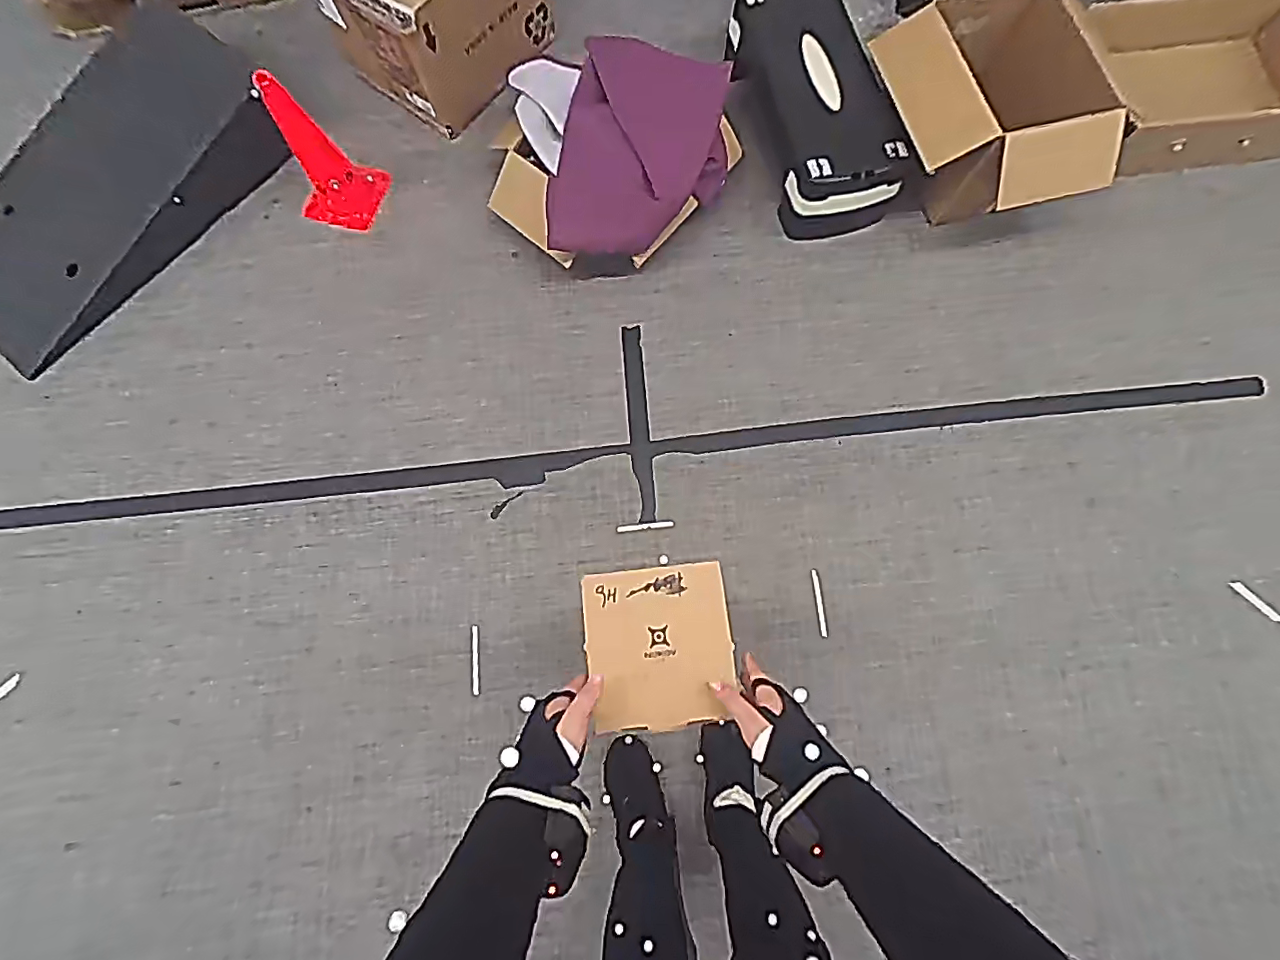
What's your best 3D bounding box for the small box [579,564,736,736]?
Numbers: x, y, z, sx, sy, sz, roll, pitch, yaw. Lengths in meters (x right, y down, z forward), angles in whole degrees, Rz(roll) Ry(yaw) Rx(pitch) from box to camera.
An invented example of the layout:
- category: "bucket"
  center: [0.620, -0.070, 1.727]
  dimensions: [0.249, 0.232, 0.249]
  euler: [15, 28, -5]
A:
- category: "small box"
  center: [0.020, 0.205, 0.683]
  dimensions: [0.168, 0.176, 0.179]
  euler: [-6, 77, 0]
